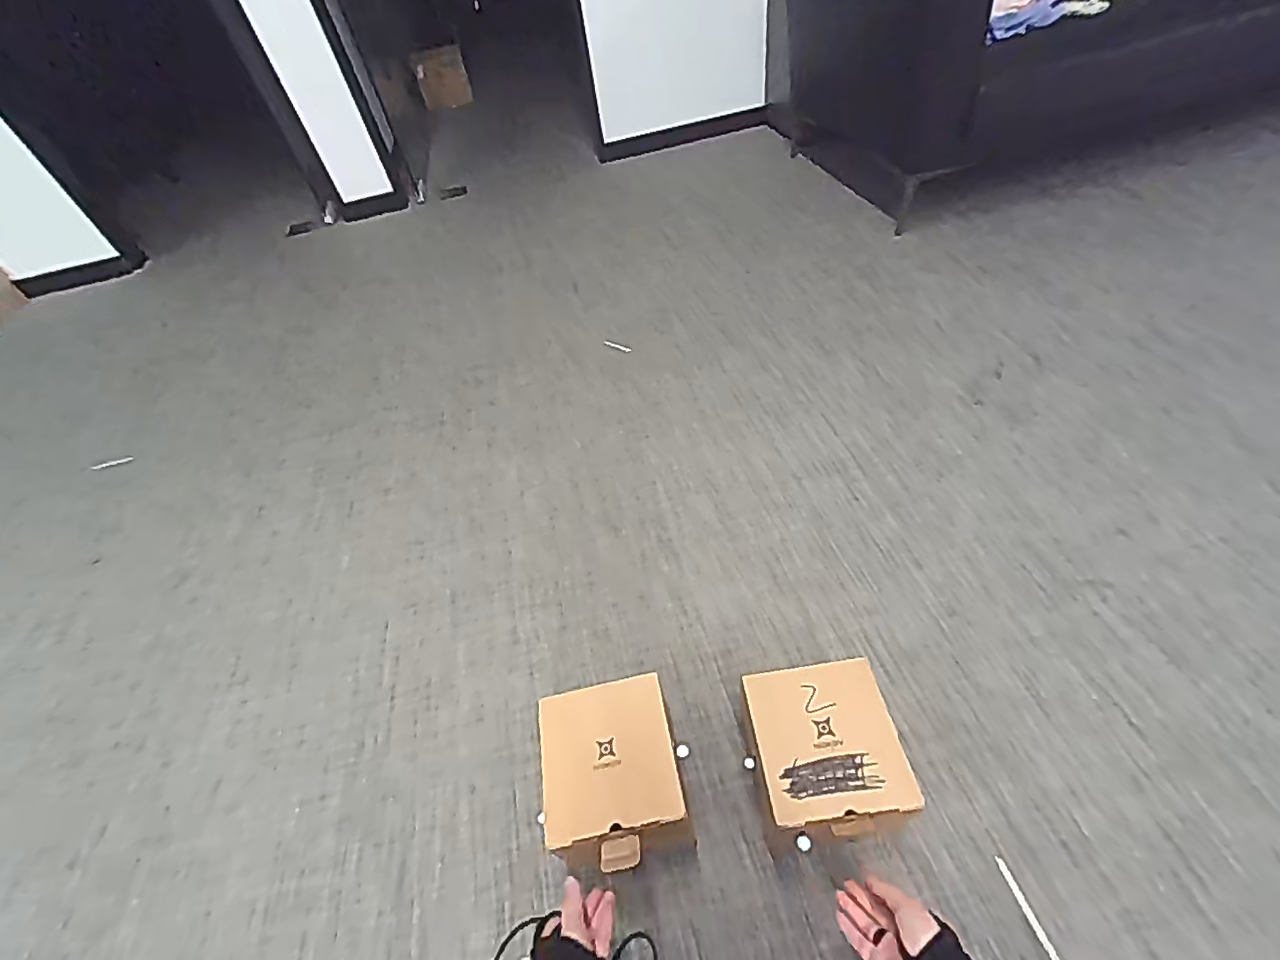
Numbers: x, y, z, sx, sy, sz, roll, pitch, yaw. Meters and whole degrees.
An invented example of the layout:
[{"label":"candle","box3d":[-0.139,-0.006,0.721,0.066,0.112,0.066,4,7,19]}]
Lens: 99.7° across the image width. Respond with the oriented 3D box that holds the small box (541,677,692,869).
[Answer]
[{"label":"small box","box3d":[-0.030,0.398,0.732,0.168,0.176,0.179,-13,48,-1]}]
